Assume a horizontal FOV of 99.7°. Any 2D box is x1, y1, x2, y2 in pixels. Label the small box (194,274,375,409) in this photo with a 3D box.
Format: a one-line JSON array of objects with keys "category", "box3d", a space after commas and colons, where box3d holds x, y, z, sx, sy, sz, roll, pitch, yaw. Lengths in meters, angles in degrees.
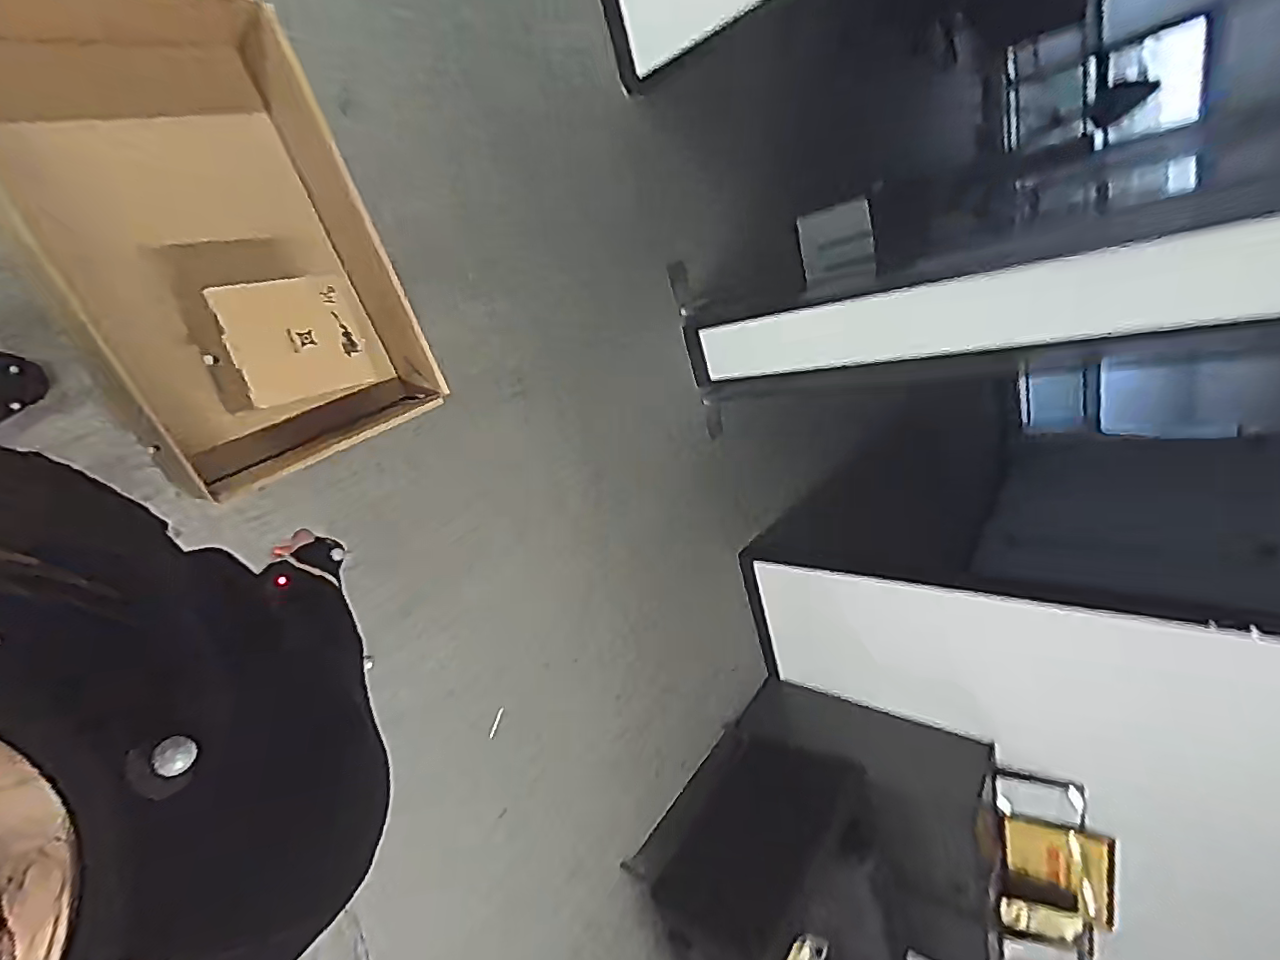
[{"category": "small box", "box3d": [-0.554, -0.210, 0.839, 0.179, 0.176, 0.168, -30, 115, -42]}]
